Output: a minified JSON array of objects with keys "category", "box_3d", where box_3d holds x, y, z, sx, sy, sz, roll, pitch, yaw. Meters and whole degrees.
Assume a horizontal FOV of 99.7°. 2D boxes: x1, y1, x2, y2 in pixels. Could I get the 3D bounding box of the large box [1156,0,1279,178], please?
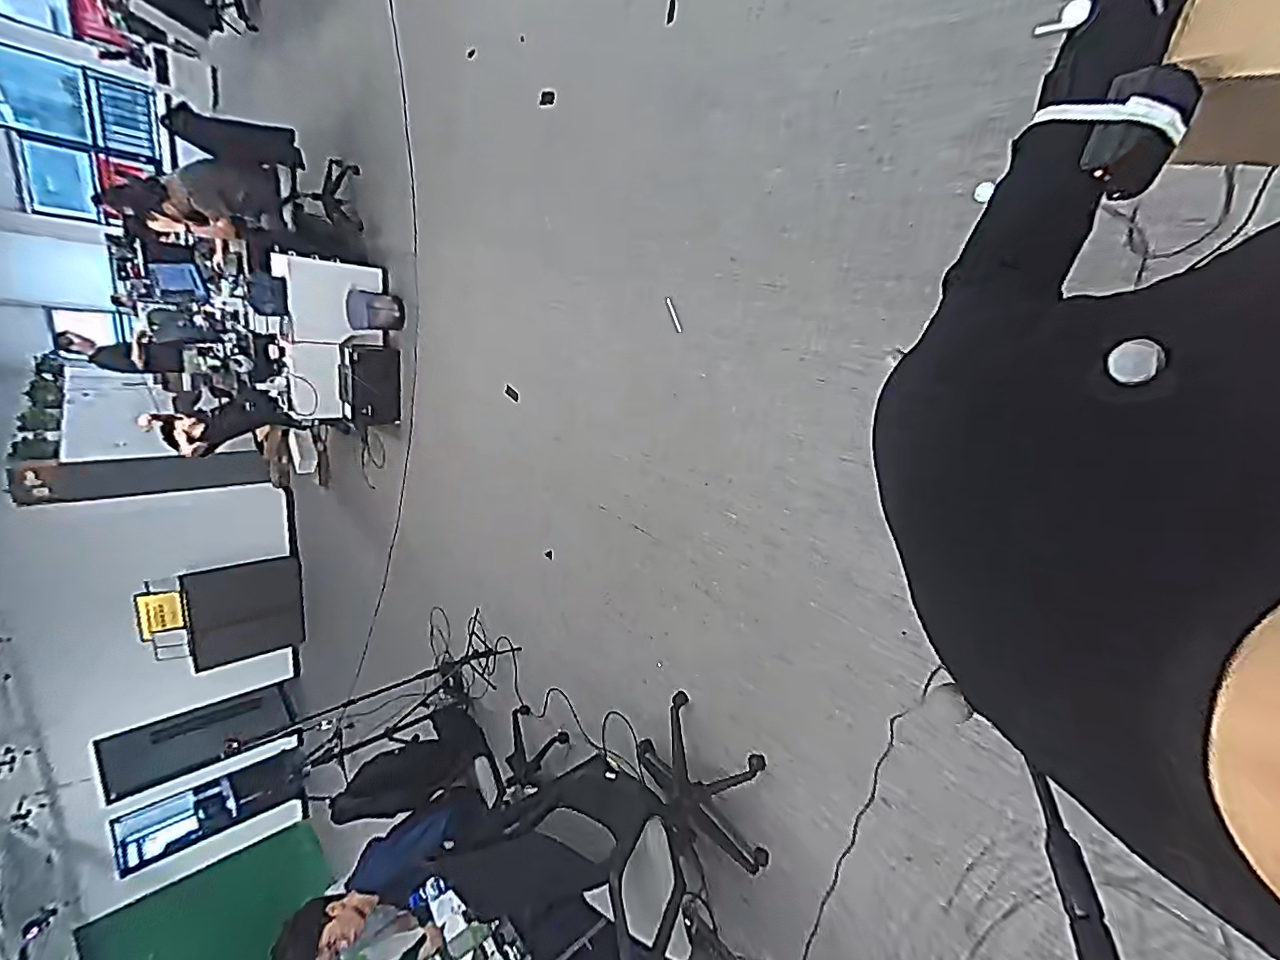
[{"category":"large box","box_3d":[0.618,-0.376,0.308,0.408,0.320,0.320,24,119,36]}]
